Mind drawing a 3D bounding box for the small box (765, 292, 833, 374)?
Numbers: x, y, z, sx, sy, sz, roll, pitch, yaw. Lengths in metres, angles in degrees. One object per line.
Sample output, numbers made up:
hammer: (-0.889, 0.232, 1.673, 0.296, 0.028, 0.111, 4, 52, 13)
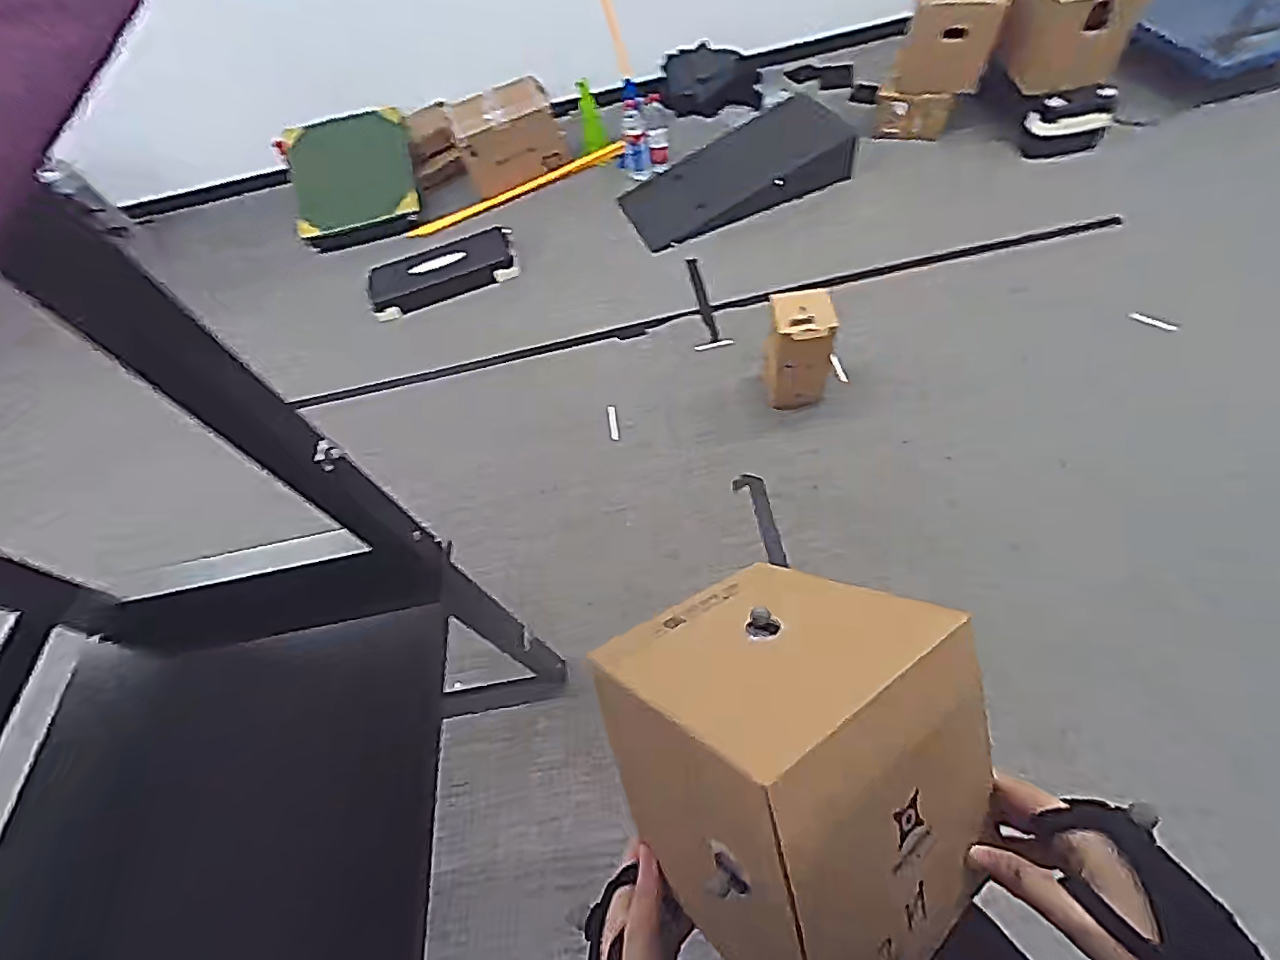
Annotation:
small box: (0.477, -0.439, 1.640, 0.168, 0.176, 0.179, -6, 56, 6)

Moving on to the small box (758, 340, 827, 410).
small box: (0.496, -0.354, 1.781, 0.179, 0.176, 0.168, -9, 56, 3)
